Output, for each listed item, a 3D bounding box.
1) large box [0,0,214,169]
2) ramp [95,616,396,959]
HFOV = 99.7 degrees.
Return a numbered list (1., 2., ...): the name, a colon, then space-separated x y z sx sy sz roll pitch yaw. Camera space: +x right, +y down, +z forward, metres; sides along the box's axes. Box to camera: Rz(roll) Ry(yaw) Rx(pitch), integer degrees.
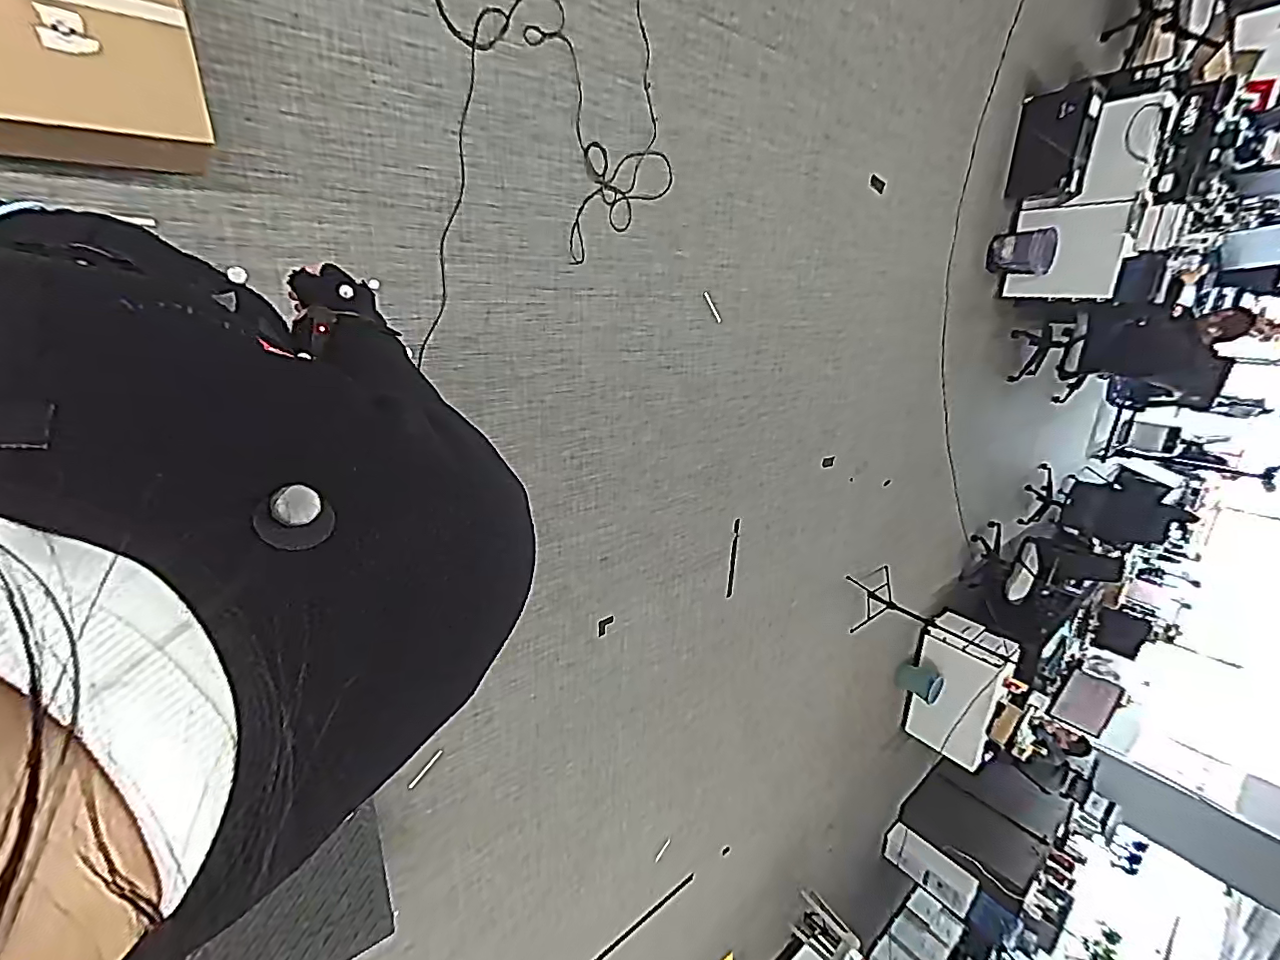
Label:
1. large box: -0.912 -0.665 0.779 0.408 0.320 0.320 -16 116 -37
2. ramp: -0.955 0.885 1.386 0.509 0.206 0.991 -12 113 -36
